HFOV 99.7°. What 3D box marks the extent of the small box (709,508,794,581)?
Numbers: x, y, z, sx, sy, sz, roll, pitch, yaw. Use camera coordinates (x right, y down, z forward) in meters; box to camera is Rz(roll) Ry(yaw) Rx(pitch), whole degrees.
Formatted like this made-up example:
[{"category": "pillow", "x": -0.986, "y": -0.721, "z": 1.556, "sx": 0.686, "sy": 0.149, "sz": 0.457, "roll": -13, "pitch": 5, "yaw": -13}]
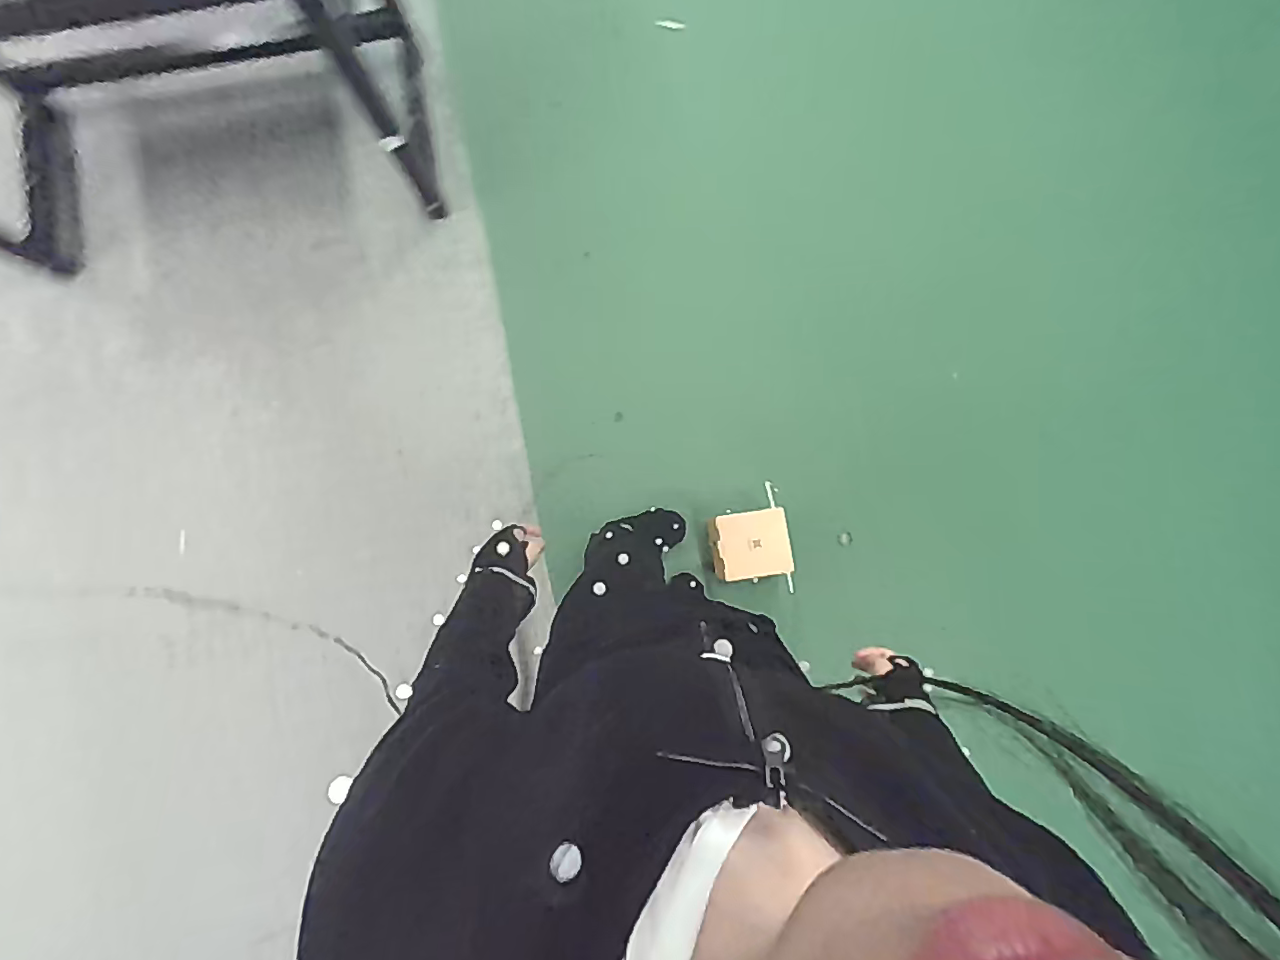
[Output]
[{"category": "small box", "x": 0.289, "y": 0.168, "z": 1.432, "sx": 0.179, "sy": 0.176, "sz": 0.168, "roll": -9, "pitch": 84, "yaw": -1}]
